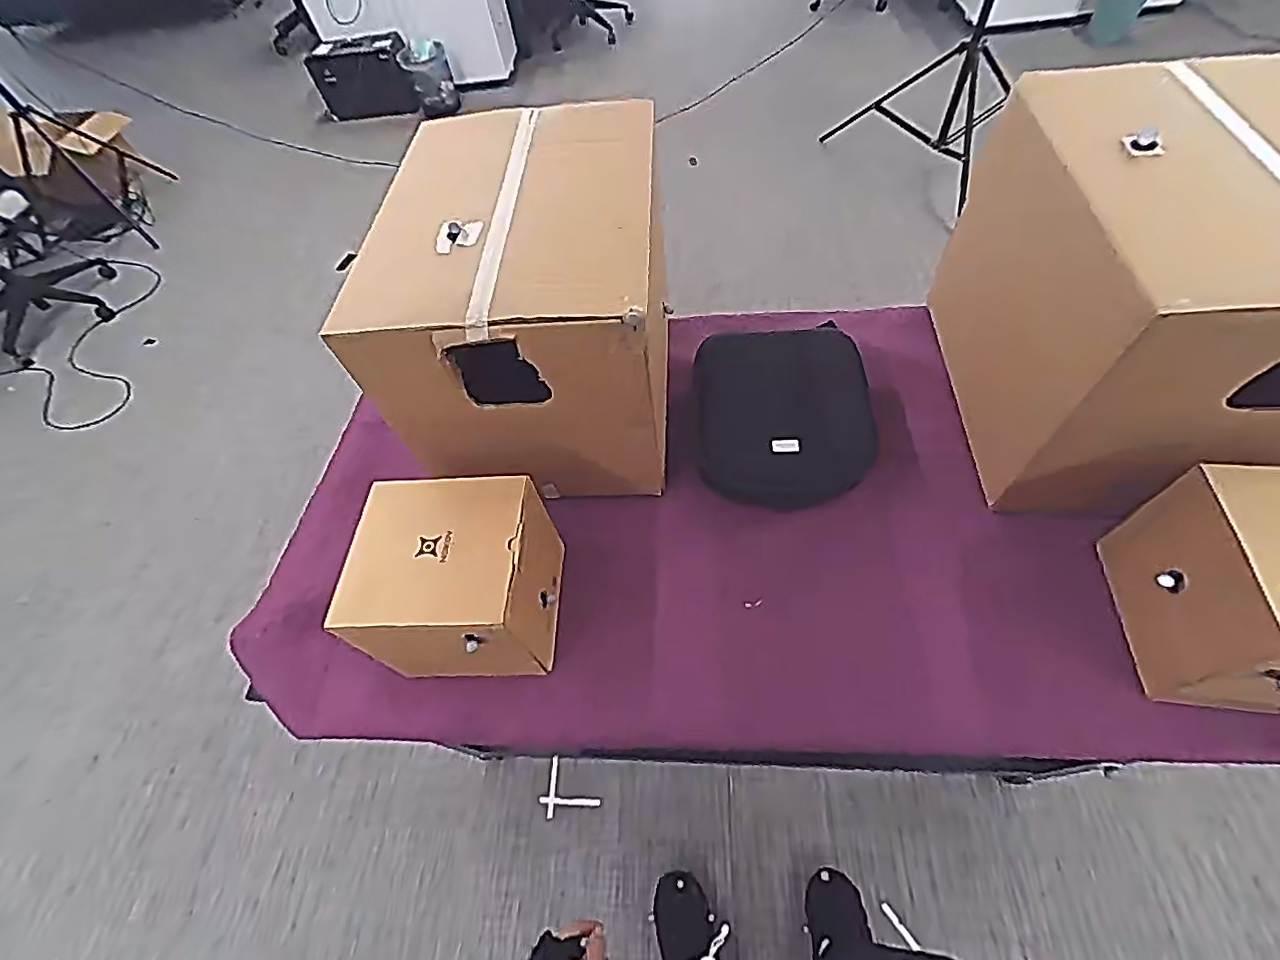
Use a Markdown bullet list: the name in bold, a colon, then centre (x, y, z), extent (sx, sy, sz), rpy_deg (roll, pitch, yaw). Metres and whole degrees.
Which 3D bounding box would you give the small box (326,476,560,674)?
- **small box**: centre (-0.199, 0.113, 0.606), extent (0.179, 0.176, 0.168), rpy_deg (-3, 56, 4)

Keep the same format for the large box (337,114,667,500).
- **large box**: centre (-0.127, -0.219, 0.731), extent (0.320, 0.320, 0.408), rpy_deg (-3, 59, 6)
